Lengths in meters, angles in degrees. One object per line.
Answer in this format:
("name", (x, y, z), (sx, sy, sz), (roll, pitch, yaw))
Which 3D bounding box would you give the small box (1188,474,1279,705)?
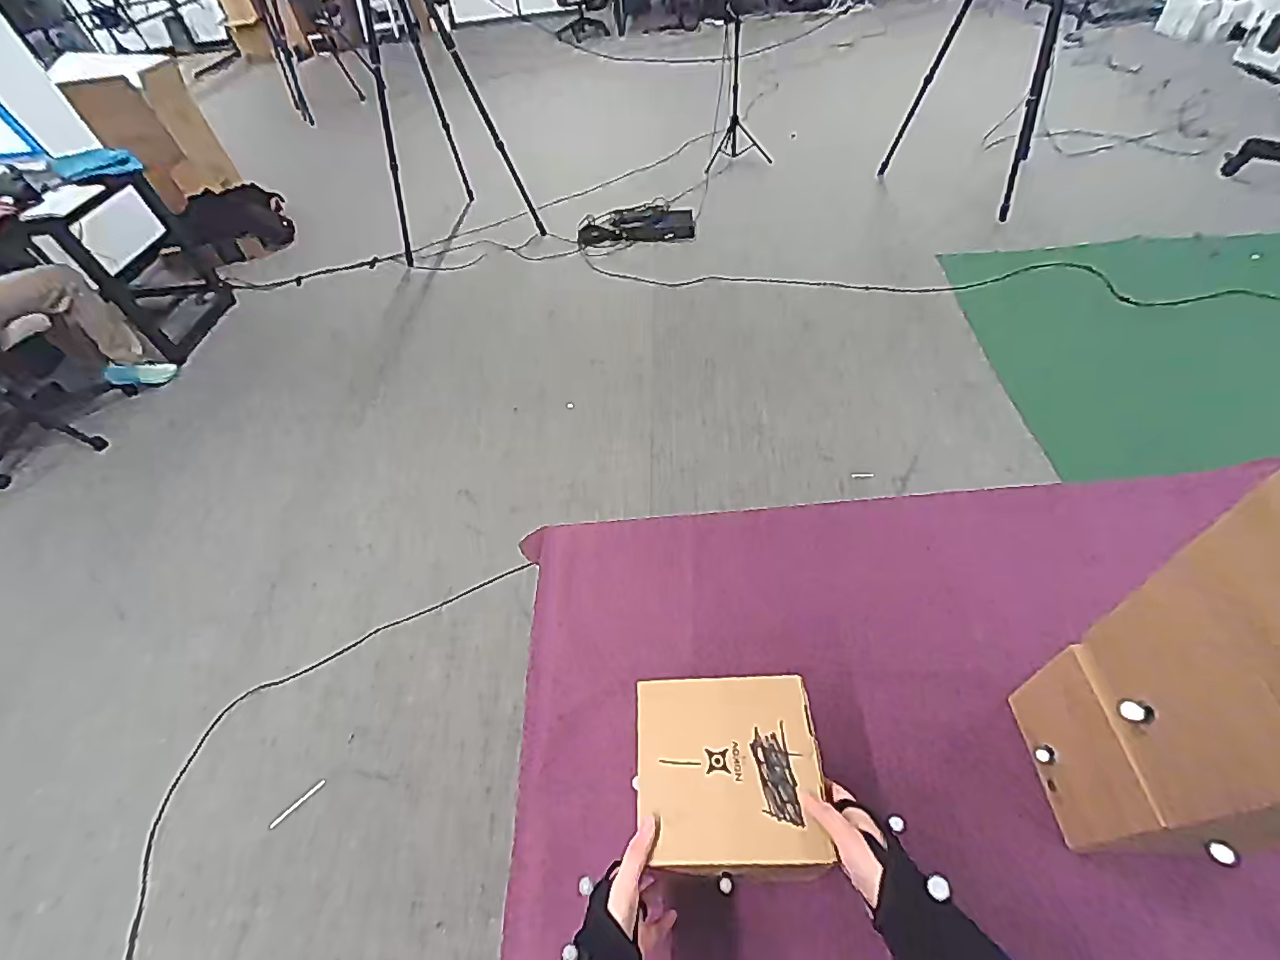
("small box", (0.499, 0.075, 0.310), (0.168, 0.176, 0.179), (-1, 49, 7))

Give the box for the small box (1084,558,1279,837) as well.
("small box", (0.519, 0.181, 0.436), (0.168, 0.176, 0.179), (0, 51, 8))

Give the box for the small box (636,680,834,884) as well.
("small box", (0.092, 0.328, 0.586), (0.179, 0.176, 0.168), (-4, 50, 5))
